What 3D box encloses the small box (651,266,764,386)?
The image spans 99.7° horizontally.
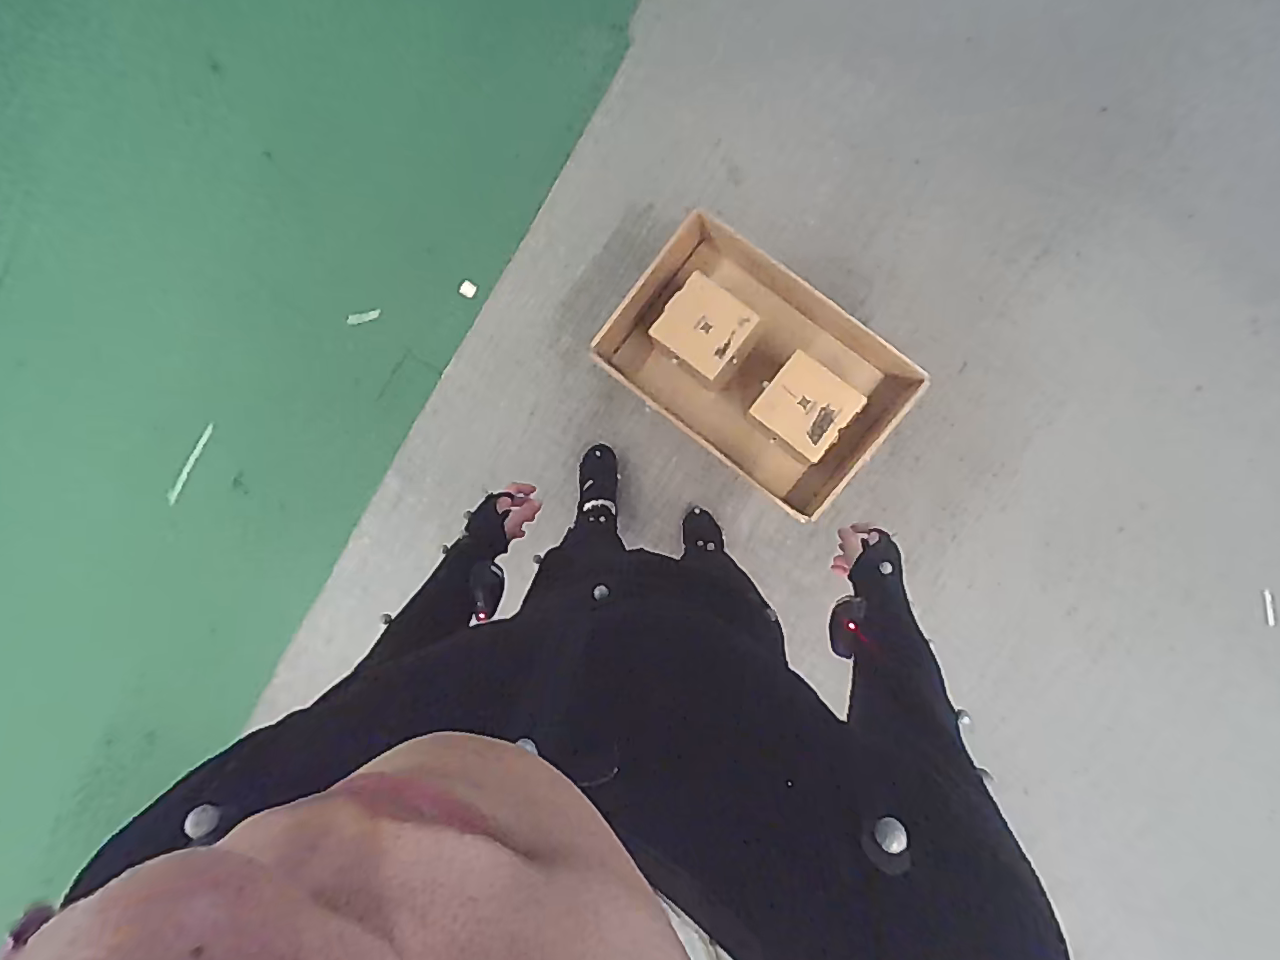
[{"bbox_3d":[0.150,-0.329,1.198,0.179,0.176,0.168,40,96,8],"label":"small box"}]
